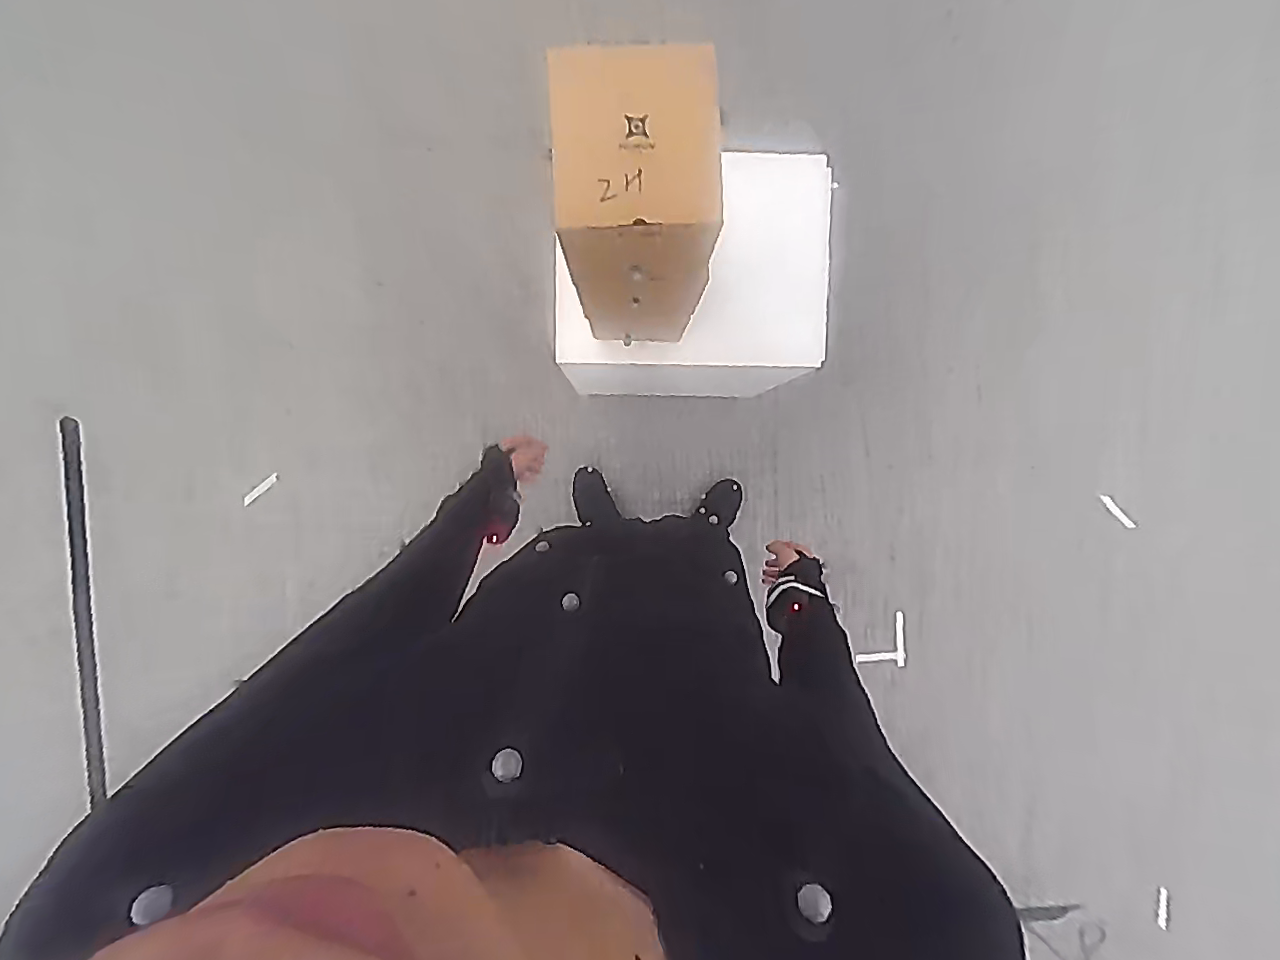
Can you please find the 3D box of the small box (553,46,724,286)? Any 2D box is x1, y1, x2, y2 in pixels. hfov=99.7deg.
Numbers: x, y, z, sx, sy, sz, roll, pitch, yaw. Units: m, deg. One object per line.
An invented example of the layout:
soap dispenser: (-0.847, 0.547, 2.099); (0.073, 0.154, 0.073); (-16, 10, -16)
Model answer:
small box: (-0.004, -0.332, 0.602); (0.168, 0.176, 0.179); (-2, 92, -1)

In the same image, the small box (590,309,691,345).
small box: (-0.001, -0.341, 0.930); (0.168, 0.176, 0.179); (2, 92, -2)

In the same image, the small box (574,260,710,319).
small box: (-0.001, -0.333, 0.767); (0.179, 0.176, 0.168); (-3, 92, 0)
